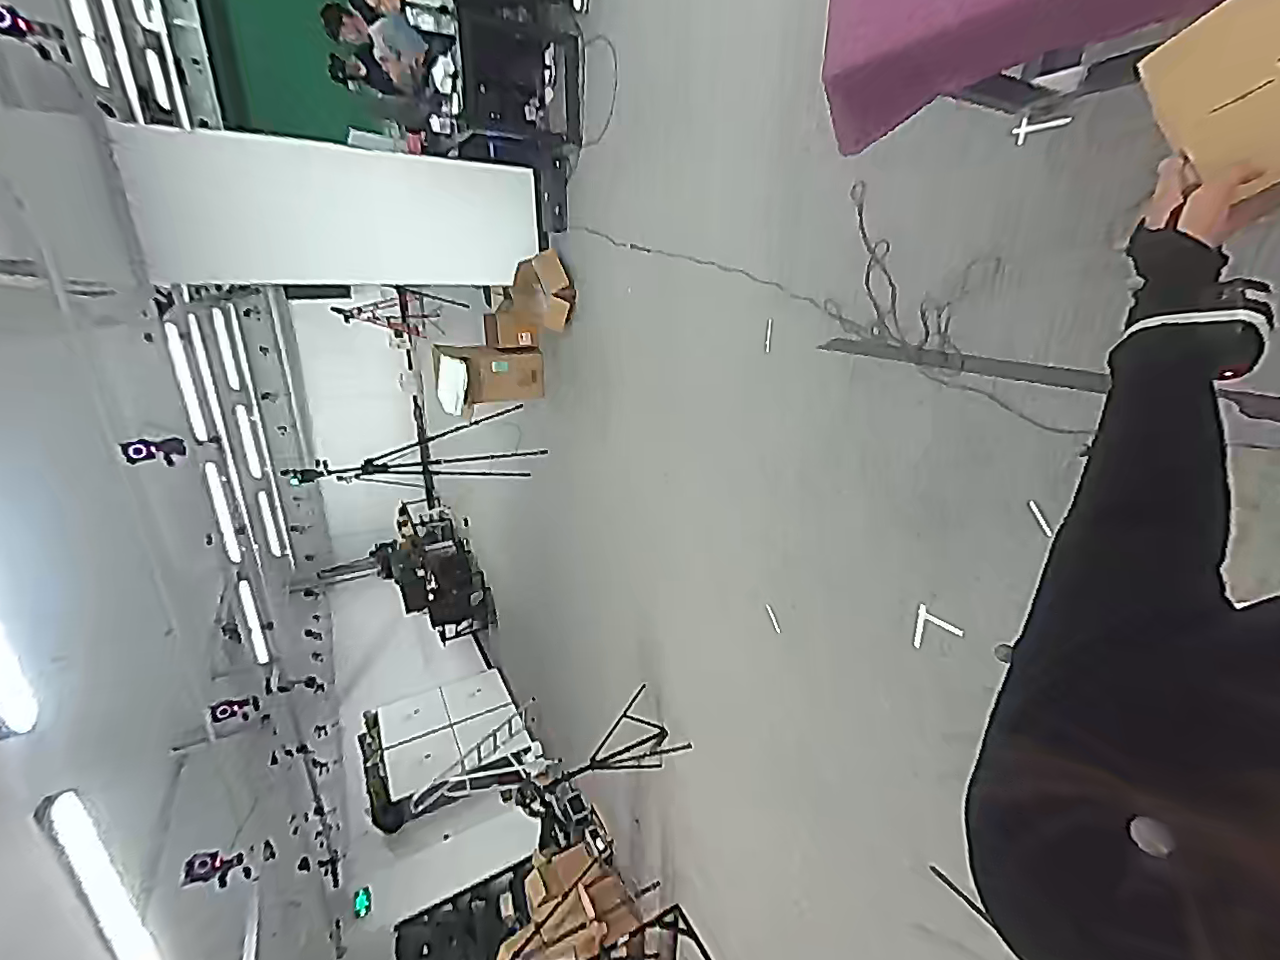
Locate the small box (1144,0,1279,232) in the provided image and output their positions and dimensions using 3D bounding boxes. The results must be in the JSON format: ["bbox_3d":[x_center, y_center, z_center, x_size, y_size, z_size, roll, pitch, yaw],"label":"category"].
[{"bbox_3d":[0.608,-0.355,0.490,0.179,0.176,0.168,-26,80,48],"label":"small box"}]
